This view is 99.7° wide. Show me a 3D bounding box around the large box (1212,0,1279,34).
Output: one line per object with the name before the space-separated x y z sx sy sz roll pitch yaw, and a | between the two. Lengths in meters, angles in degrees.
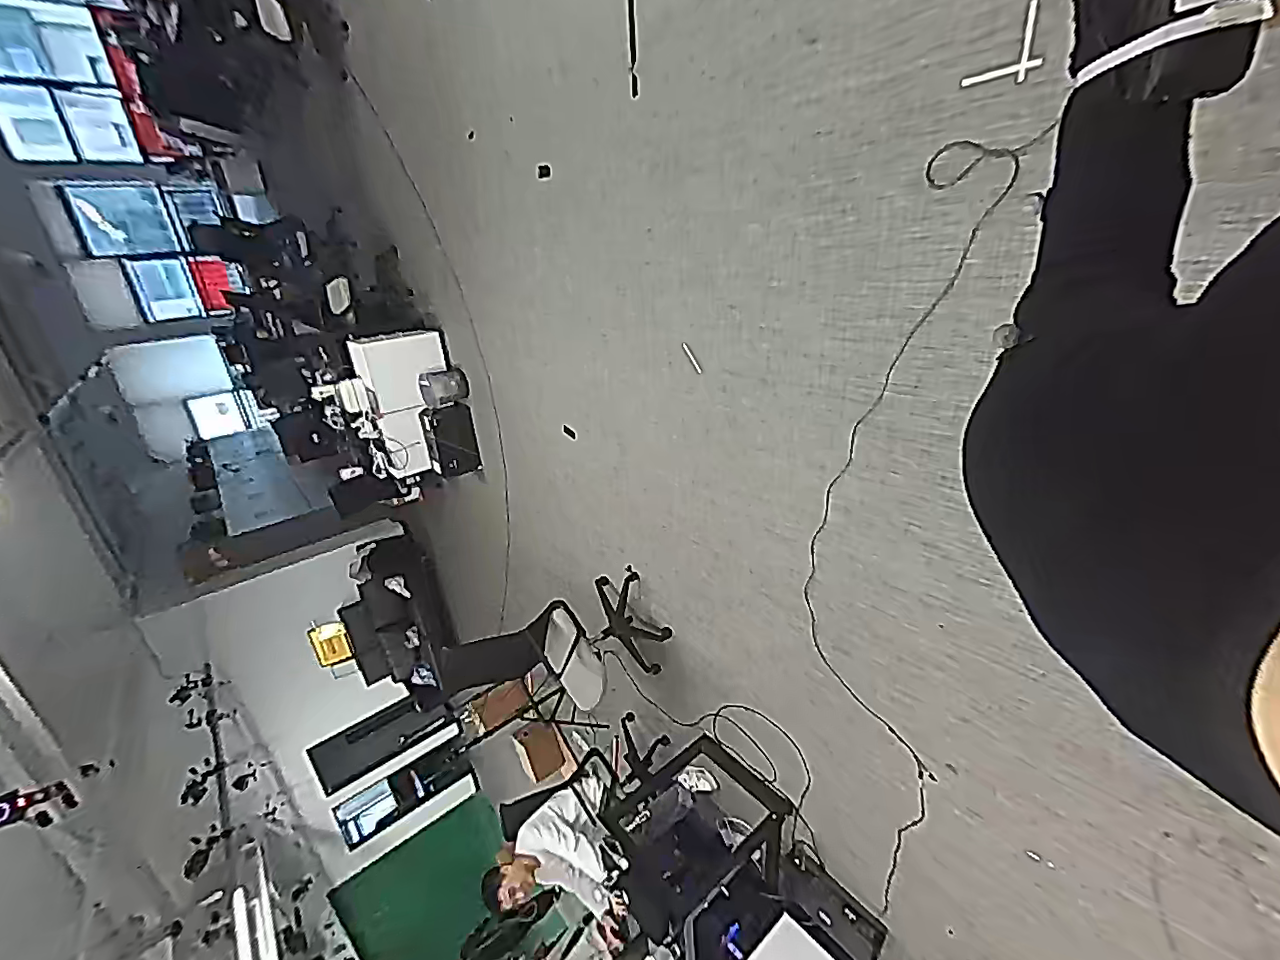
large box | 0.560 -0.479 0.233 0.408 0.320 0.320 13 123 48
